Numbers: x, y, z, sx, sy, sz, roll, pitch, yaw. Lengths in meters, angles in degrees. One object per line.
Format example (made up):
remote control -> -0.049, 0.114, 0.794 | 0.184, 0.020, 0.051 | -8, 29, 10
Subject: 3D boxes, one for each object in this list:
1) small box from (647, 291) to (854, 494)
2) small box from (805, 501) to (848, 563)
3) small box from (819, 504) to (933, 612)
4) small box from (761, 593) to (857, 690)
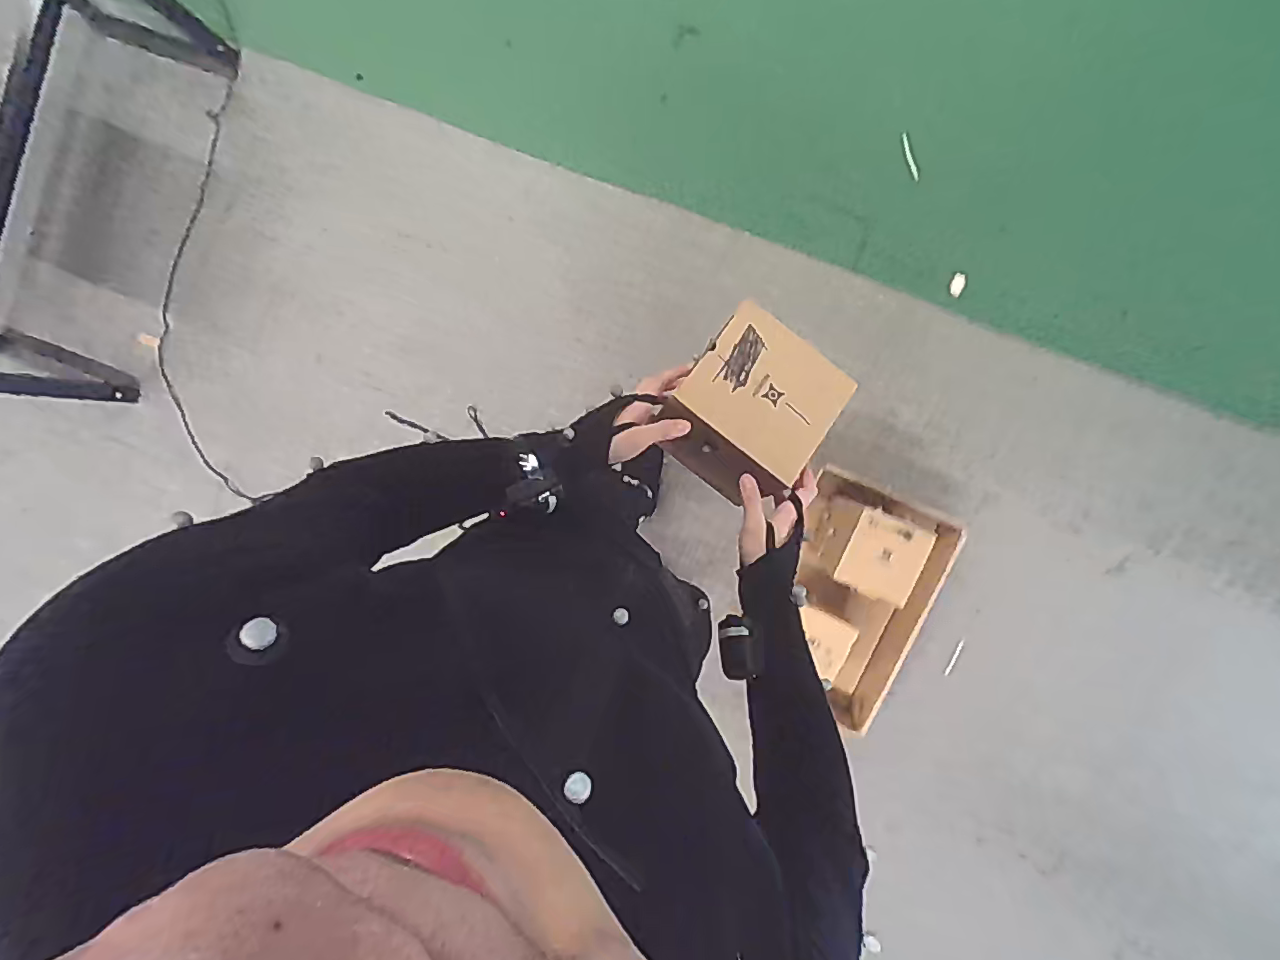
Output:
small box -> 0.129, -0.098, 0.703 | 0.179, 0.176, 0.168 | 37, 76, -2
small box -> 0.555, 0.163, 1.416 | 0.179, 0.176, 0.168 | 25, 96, 3
small box -> 0.534, 0.172, 1.254 | 0.168, 0.176, 0.179 | 24, 96, 4
small box -> 0.439, 0.419, 1.440 | 0.179, 0.176, 0.168 | 26, 95, 4
